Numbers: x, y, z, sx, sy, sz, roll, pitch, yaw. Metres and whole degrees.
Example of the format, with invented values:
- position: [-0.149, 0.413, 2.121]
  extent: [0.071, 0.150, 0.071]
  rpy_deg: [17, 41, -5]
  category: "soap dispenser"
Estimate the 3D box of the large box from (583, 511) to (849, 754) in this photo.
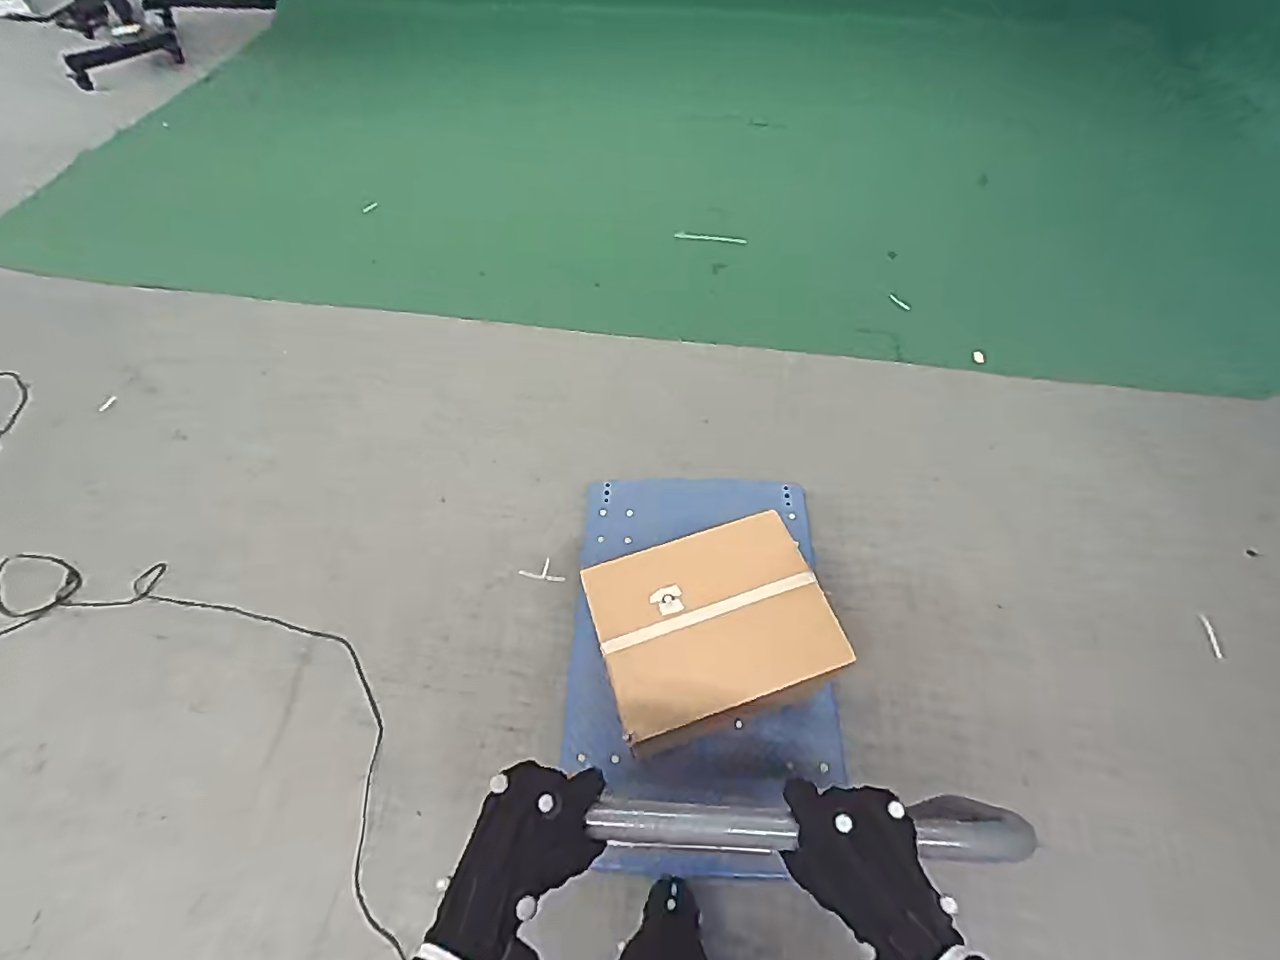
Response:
- position: [0.131, 0.315, 1.092]
  extent: [0.408, 0.320, 0.320]
  rpy_deg: [-17, 58, -8]
  category: "large box"
